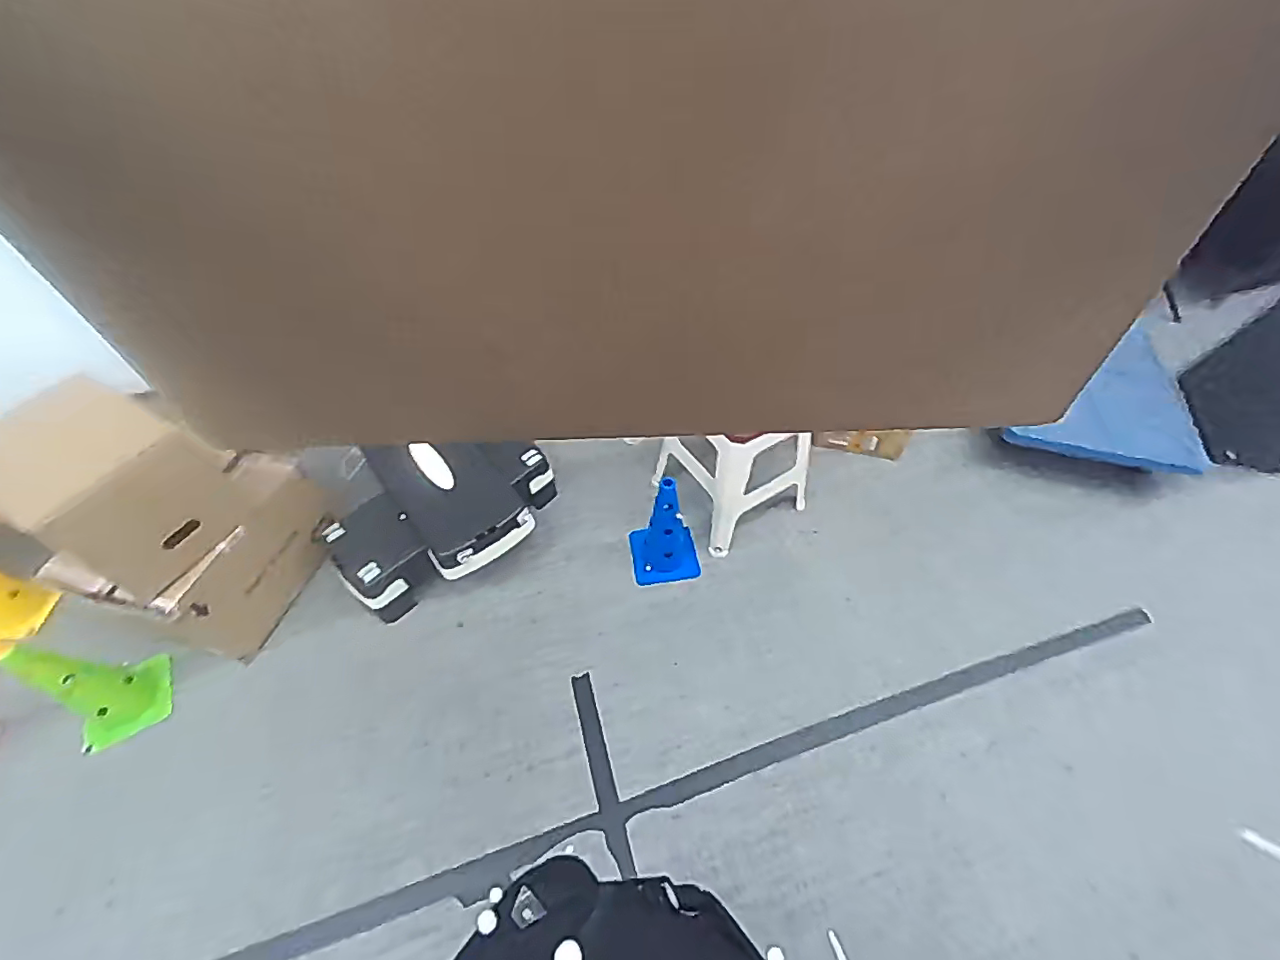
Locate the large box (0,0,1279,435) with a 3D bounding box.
[{"bbox_3d":[-0.010,-0.236,0.252,0.408,0.320,0.320,-1,51,2],"label":"large box"}]
